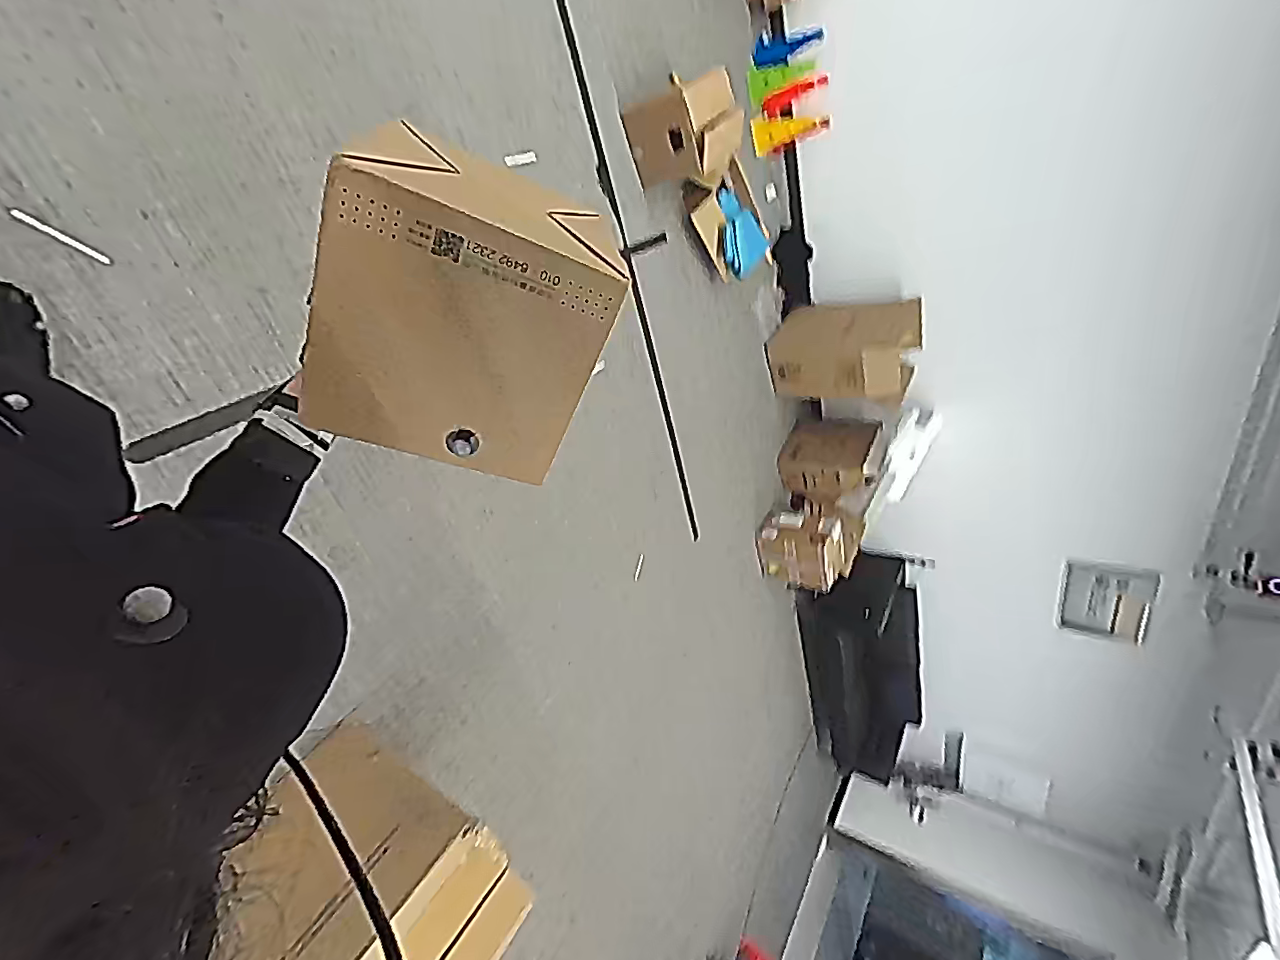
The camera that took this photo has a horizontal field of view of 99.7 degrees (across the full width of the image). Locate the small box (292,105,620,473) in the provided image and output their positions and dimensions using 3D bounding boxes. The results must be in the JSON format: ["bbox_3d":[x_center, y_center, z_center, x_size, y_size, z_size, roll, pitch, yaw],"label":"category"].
[{"bbox_3d":[-0.126,-0.138,0.392,0.168,0.179,0.176,15,125,-23],"label":"small box"}]
